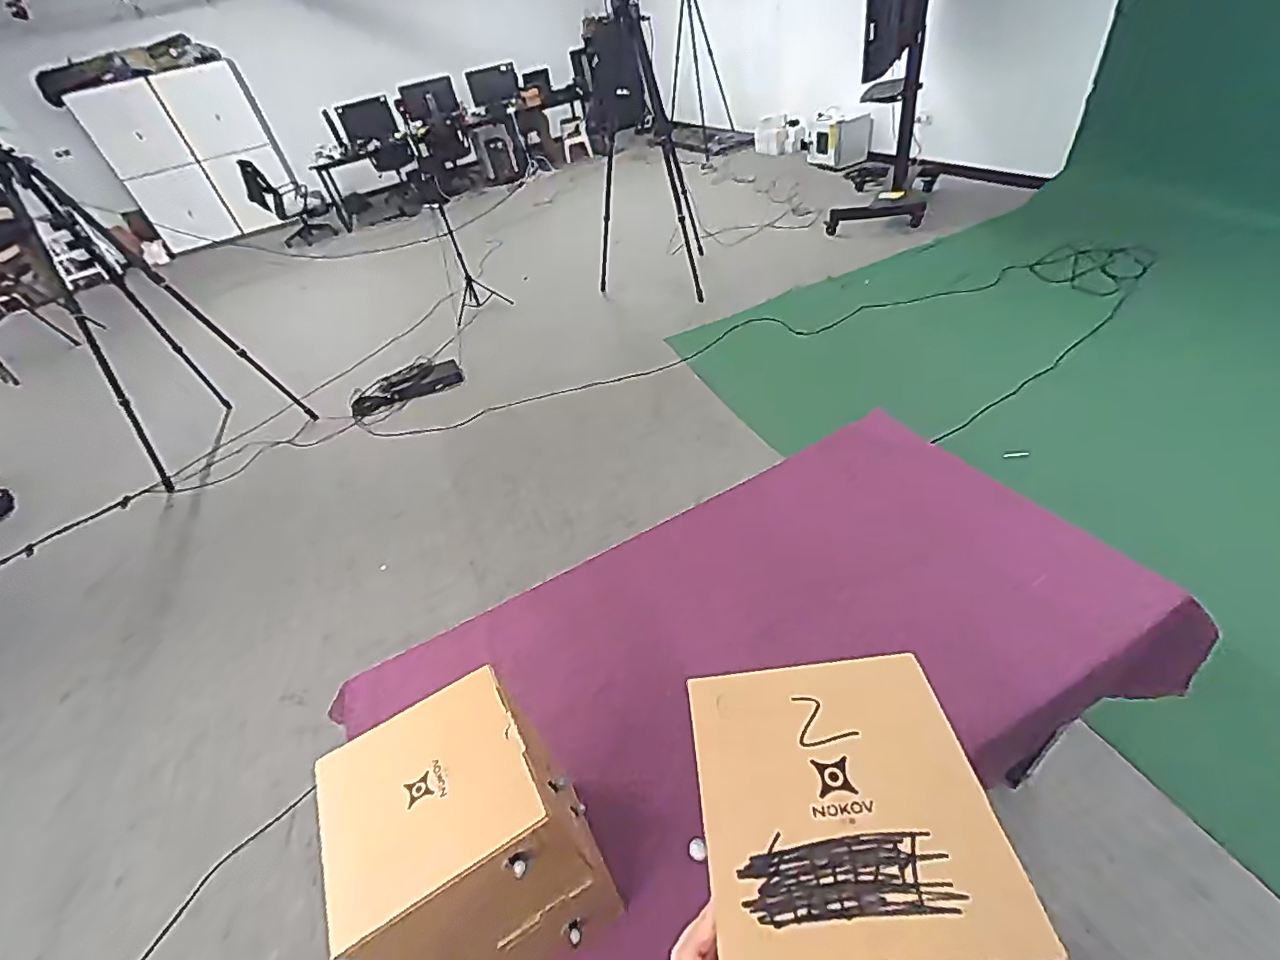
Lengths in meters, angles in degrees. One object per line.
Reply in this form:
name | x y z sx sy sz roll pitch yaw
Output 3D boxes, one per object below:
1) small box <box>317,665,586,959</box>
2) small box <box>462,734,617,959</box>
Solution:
small box | -0.174 0.325 0.521 0.179 0.176 0.168 -26 43 -17
small box | -0.142 0.443 0.627 0.168 0.176 0.179 -26 42 -15
